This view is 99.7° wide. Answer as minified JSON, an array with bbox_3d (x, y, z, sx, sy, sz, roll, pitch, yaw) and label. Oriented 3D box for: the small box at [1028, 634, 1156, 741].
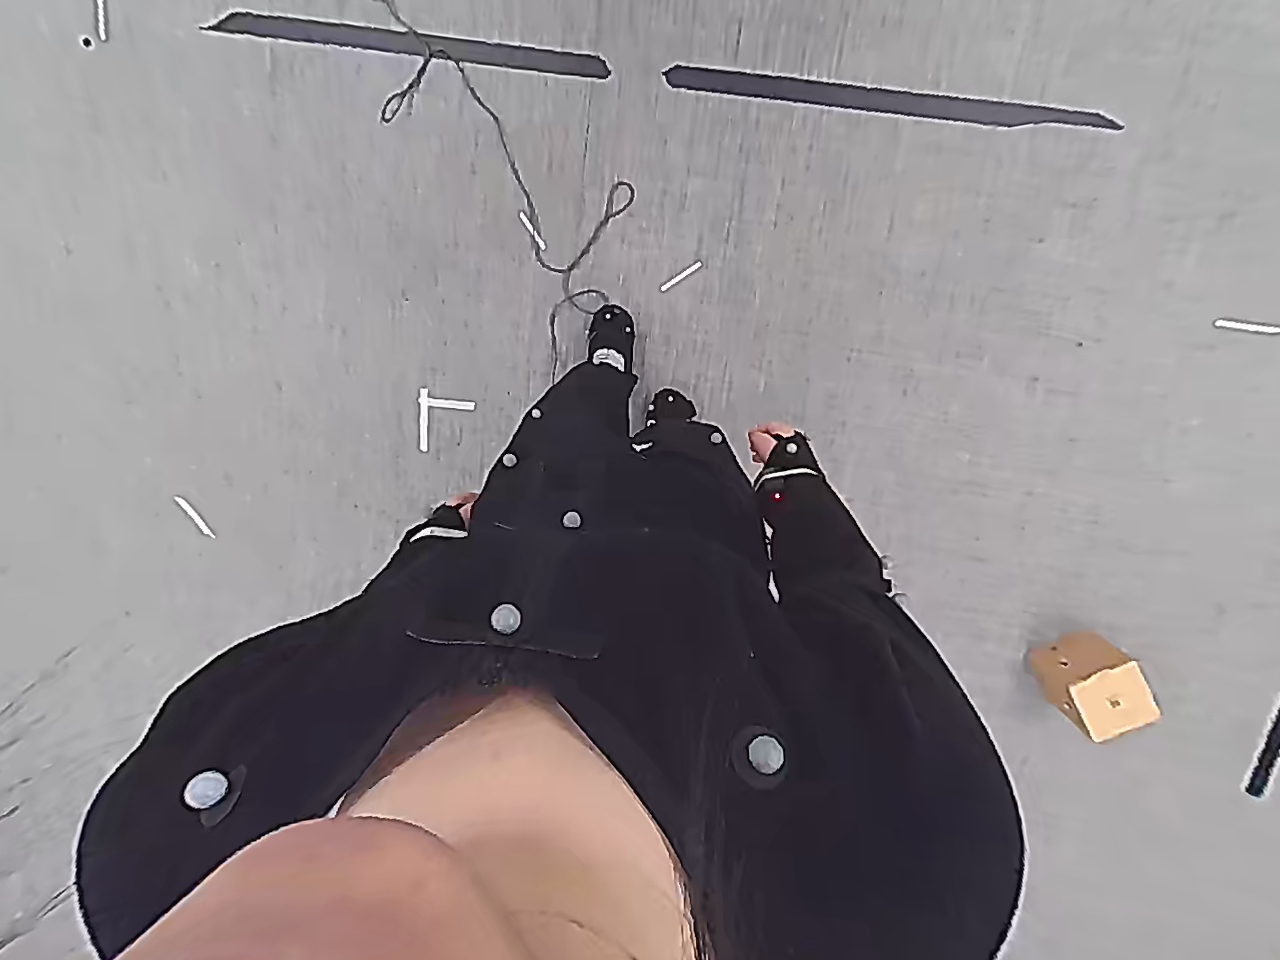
[{"bbox_3d":[1.165,0.528,1.409,0.168,0.176,0.179,-29,98,10],"label":"small box"}]
